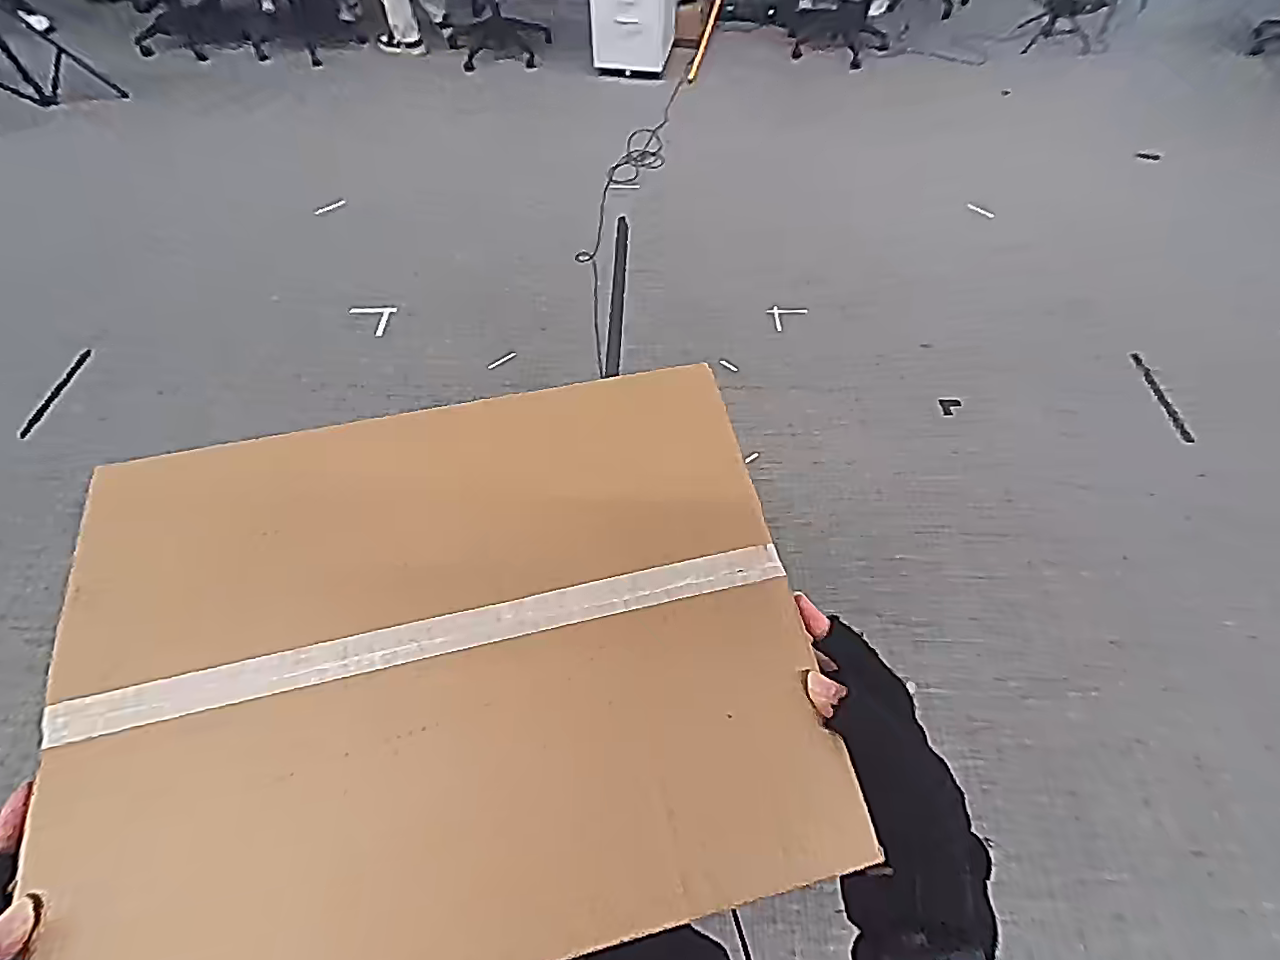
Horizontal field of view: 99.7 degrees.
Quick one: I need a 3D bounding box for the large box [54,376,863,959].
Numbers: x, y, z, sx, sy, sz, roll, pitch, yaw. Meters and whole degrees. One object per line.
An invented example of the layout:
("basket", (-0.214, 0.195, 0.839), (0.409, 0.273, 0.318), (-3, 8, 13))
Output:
("large box", (-0.111, 0.157, 0.457), (0.408, 0.320, 0.320), (-11, 66, -7))
